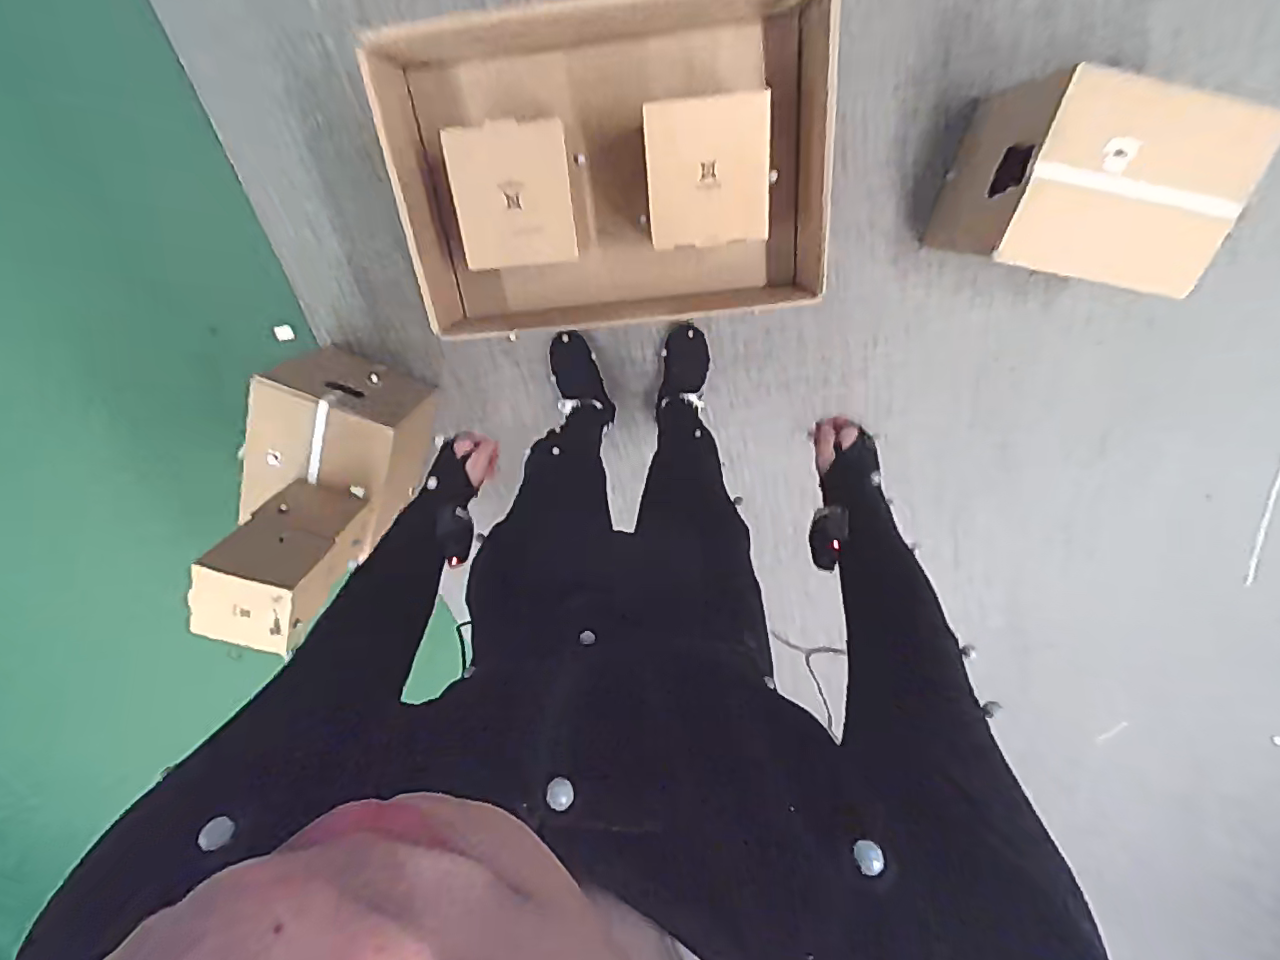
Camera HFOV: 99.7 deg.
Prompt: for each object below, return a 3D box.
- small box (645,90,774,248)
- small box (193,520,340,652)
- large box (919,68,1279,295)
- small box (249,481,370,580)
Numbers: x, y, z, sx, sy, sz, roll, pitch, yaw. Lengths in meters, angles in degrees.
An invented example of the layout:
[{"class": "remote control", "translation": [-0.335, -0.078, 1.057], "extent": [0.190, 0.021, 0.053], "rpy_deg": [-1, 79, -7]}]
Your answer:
[{"class": "small box", "translation": [0.095, -0.449, 0.797], "extent": [0.168, 0.176, 0.179], "rpy_deg": [-5, 118, 3]}, {"class": "small box", "translation": [-0.730, 0.201, 1.067], "extent": [0.179, 0.176, 0.168], "rpy_deg": [19, 115, -9]}, {"class": "large box", "translation": [0.884, -0.592, 1.110], "extent": [0.408, 0.320, 0.320], "rpy_deg": [10, 116, -3]}, {"class": "small box", "translation": [-0.740, 0.123, 1.211], "extent": [0.179, 0.176, 0.168], "rpy_deg": [19, 116, -10]}]
